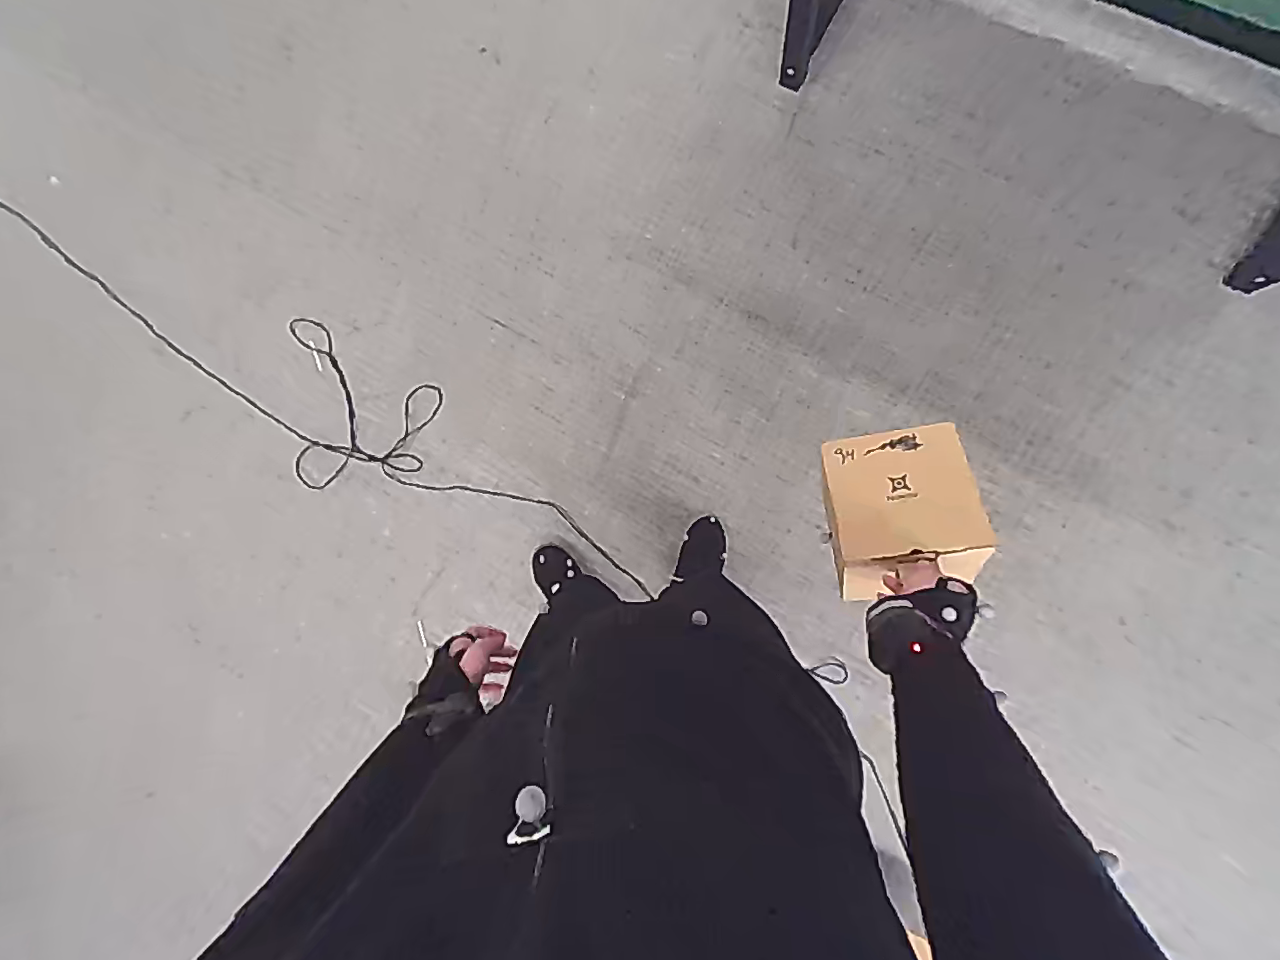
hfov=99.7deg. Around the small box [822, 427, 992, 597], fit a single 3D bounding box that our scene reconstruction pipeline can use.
[{"bbox_3d":[0.348,0.055,0.738,0.168,0.176,0.179,-9,60,15],"label":"small box"}]
